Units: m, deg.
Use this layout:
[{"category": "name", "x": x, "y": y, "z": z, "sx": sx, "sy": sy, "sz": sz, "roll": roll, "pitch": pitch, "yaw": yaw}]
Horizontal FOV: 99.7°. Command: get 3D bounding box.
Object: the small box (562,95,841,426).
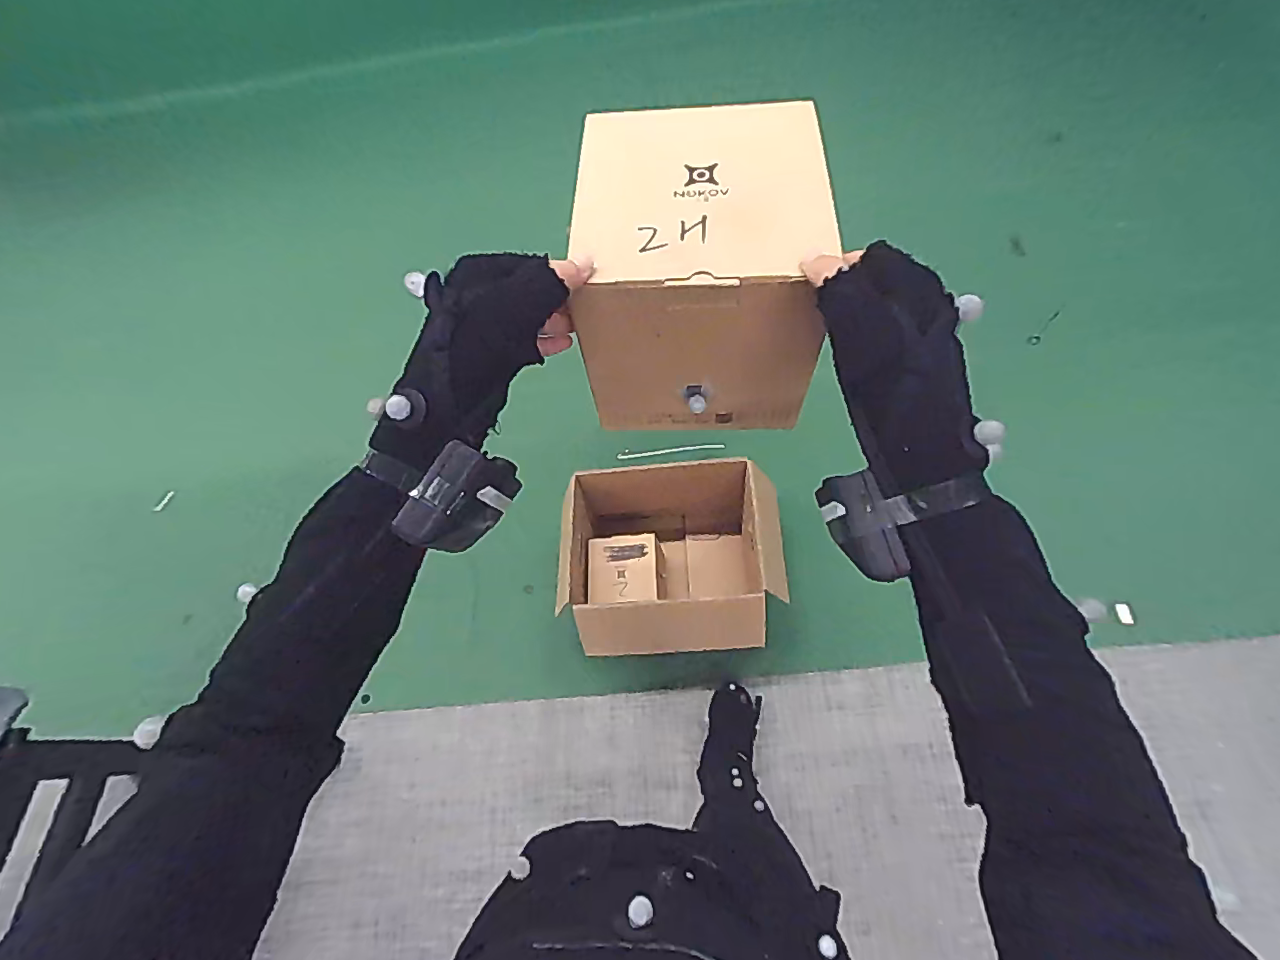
[{"category": "small box", "x": 0.043, "y": -0.162, "z": 0.423, "sx": 0.168, "sy": 0.176, "sz": 0.179, "roll": 0, "pitch": 63, "yaw": 5}]
